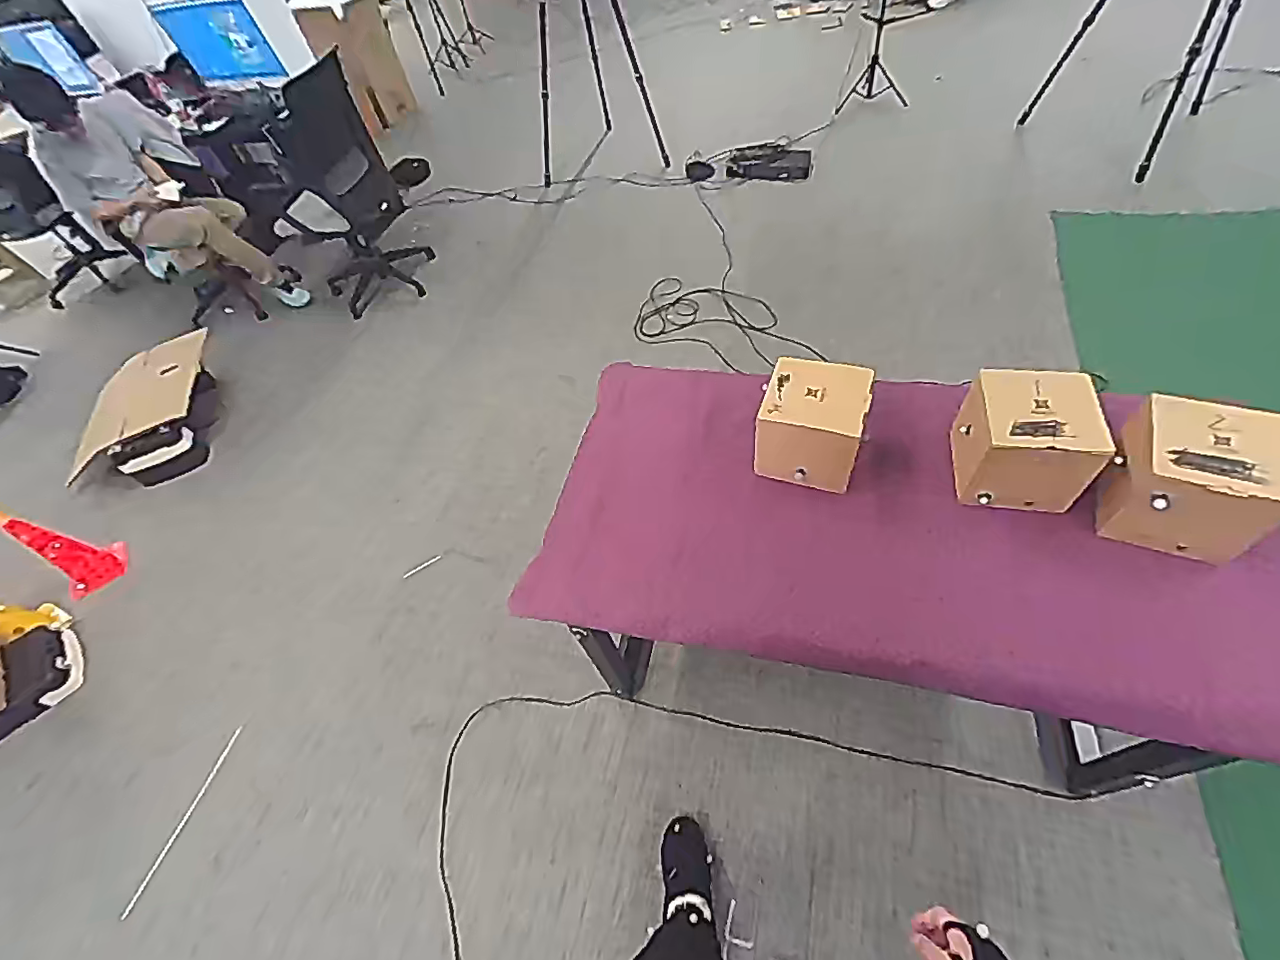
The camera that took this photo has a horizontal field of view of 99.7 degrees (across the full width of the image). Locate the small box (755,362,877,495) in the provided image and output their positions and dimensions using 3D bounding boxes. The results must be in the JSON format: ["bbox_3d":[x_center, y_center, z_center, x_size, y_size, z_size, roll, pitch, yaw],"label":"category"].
[{"bbox_3d":[0.324,-0.092,1.016,0.179,0.176,0.168,14,57,20],"label":"small box"}]
